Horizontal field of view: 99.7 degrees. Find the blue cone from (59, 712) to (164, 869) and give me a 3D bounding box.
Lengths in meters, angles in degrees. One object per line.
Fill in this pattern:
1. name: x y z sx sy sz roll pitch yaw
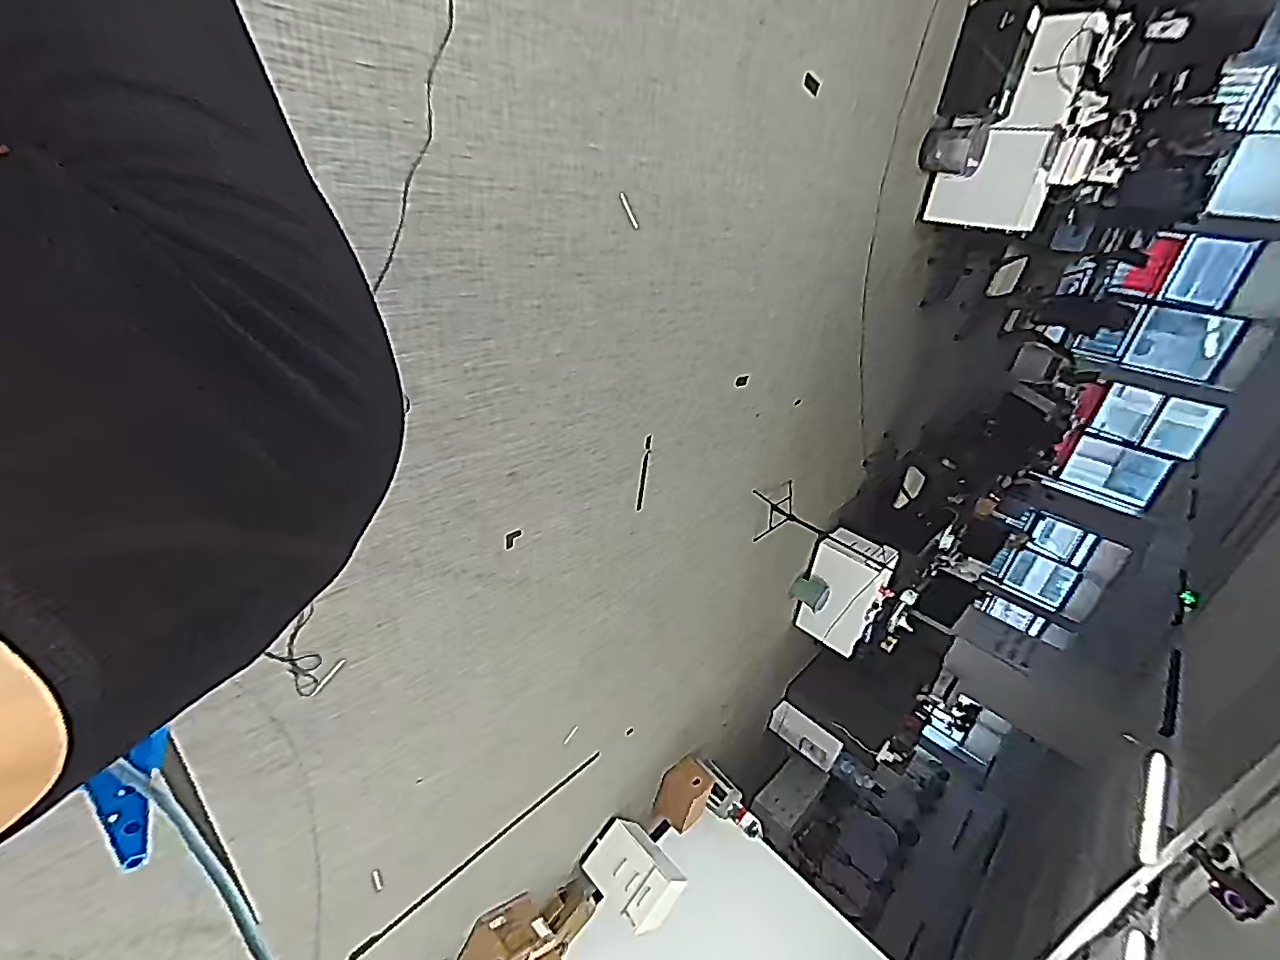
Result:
1. blue cone: -1.251 0.761 1.304 0.193 0.380 0.192 6 109 -51
